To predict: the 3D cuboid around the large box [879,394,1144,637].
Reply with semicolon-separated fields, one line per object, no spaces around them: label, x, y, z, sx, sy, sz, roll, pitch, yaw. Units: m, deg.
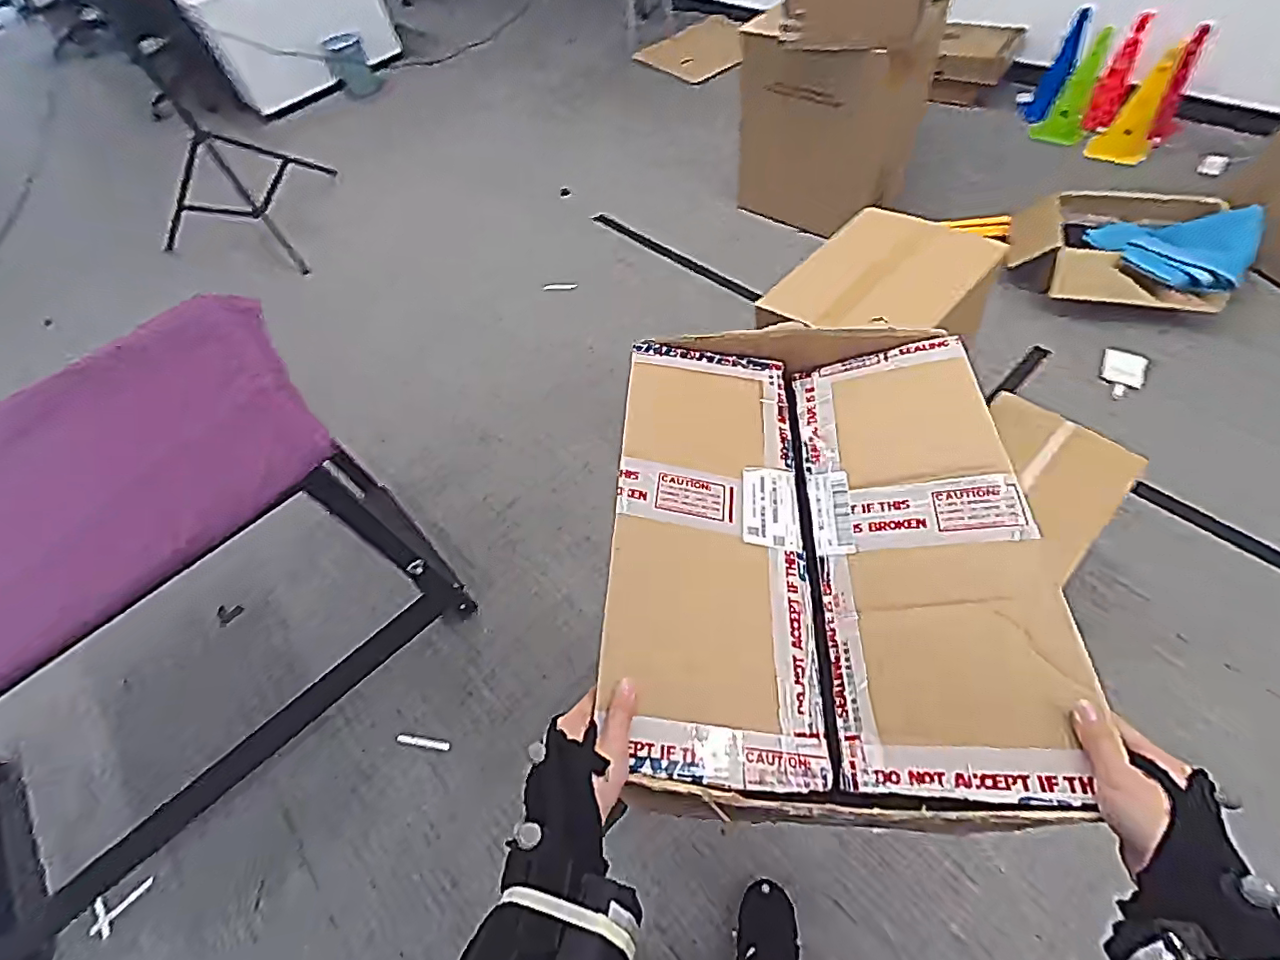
large box;0.838;0.085;1.268;0.408;0.320;0.320;-42;61;-17
